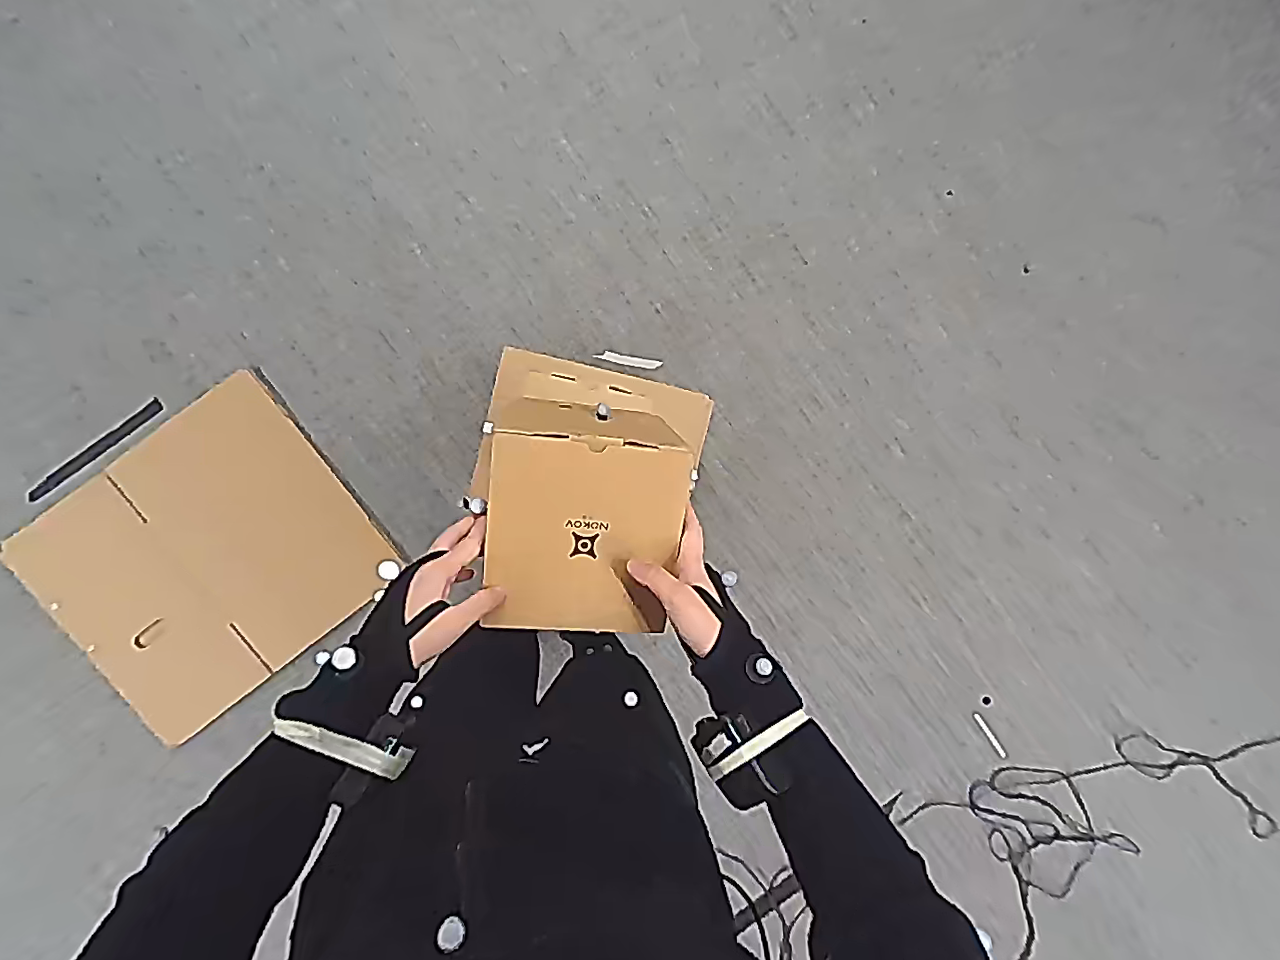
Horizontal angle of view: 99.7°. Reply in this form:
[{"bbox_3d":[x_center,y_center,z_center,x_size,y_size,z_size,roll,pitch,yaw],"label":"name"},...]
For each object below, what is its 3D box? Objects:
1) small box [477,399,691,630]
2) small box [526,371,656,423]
[{"bbox_3d":[-0.060,0.025,0.533,0.168,0.176,0.179,5,105,-11],"label":"small box"},{"bbox_3d":[-0.082,-0.036,0.764,0.168,0.176,0.179,12,89,-3],"label":"small box"}]
